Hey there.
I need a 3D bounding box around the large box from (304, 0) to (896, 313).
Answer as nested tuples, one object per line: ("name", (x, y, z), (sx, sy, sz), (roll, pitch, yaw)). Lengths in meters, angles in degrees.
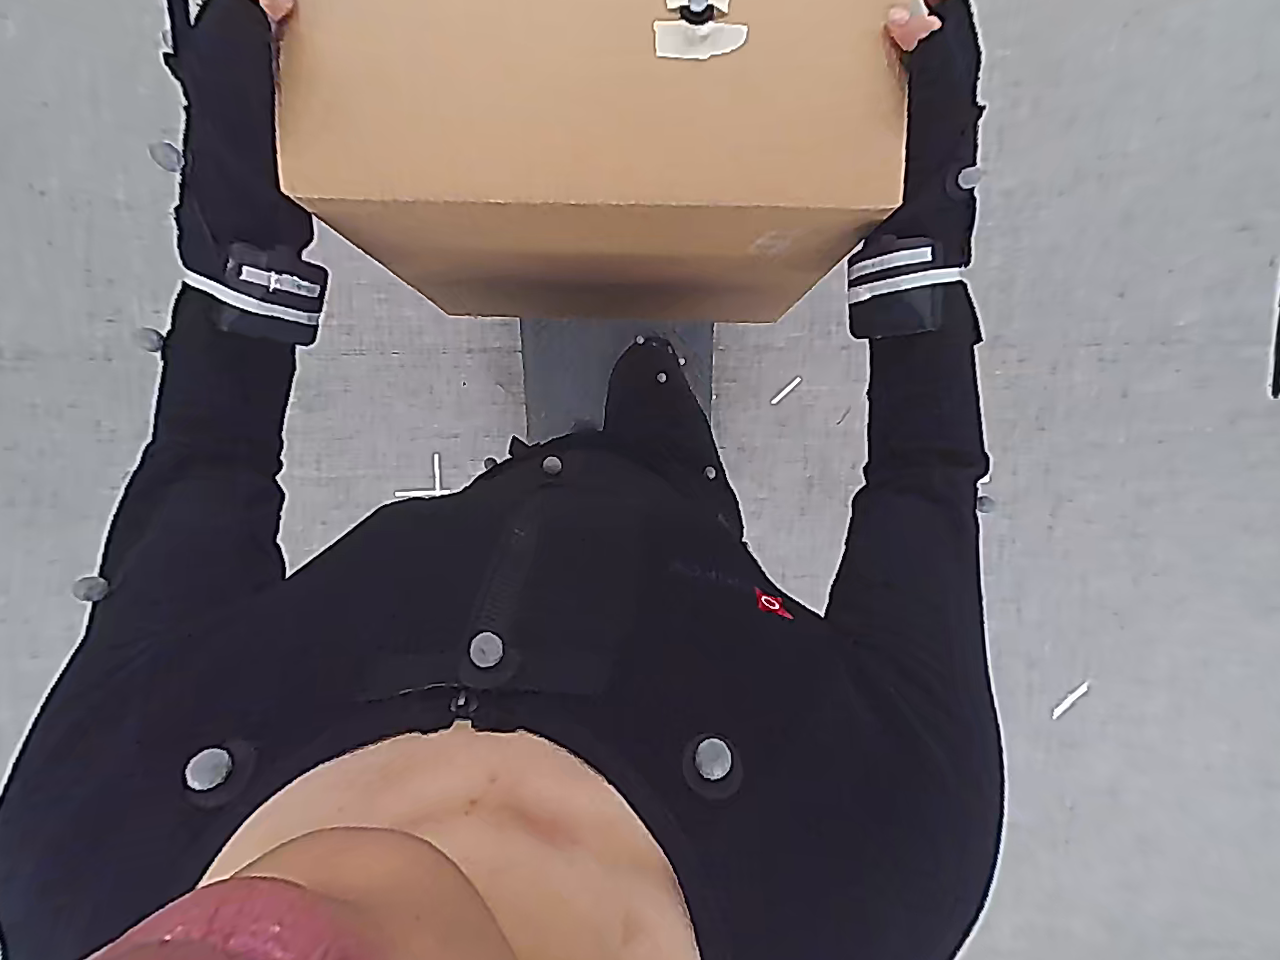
("large box", (-0.028, -0.354, 0.510), (0.408, 0.320, 0.320), (1, 93, -1))
